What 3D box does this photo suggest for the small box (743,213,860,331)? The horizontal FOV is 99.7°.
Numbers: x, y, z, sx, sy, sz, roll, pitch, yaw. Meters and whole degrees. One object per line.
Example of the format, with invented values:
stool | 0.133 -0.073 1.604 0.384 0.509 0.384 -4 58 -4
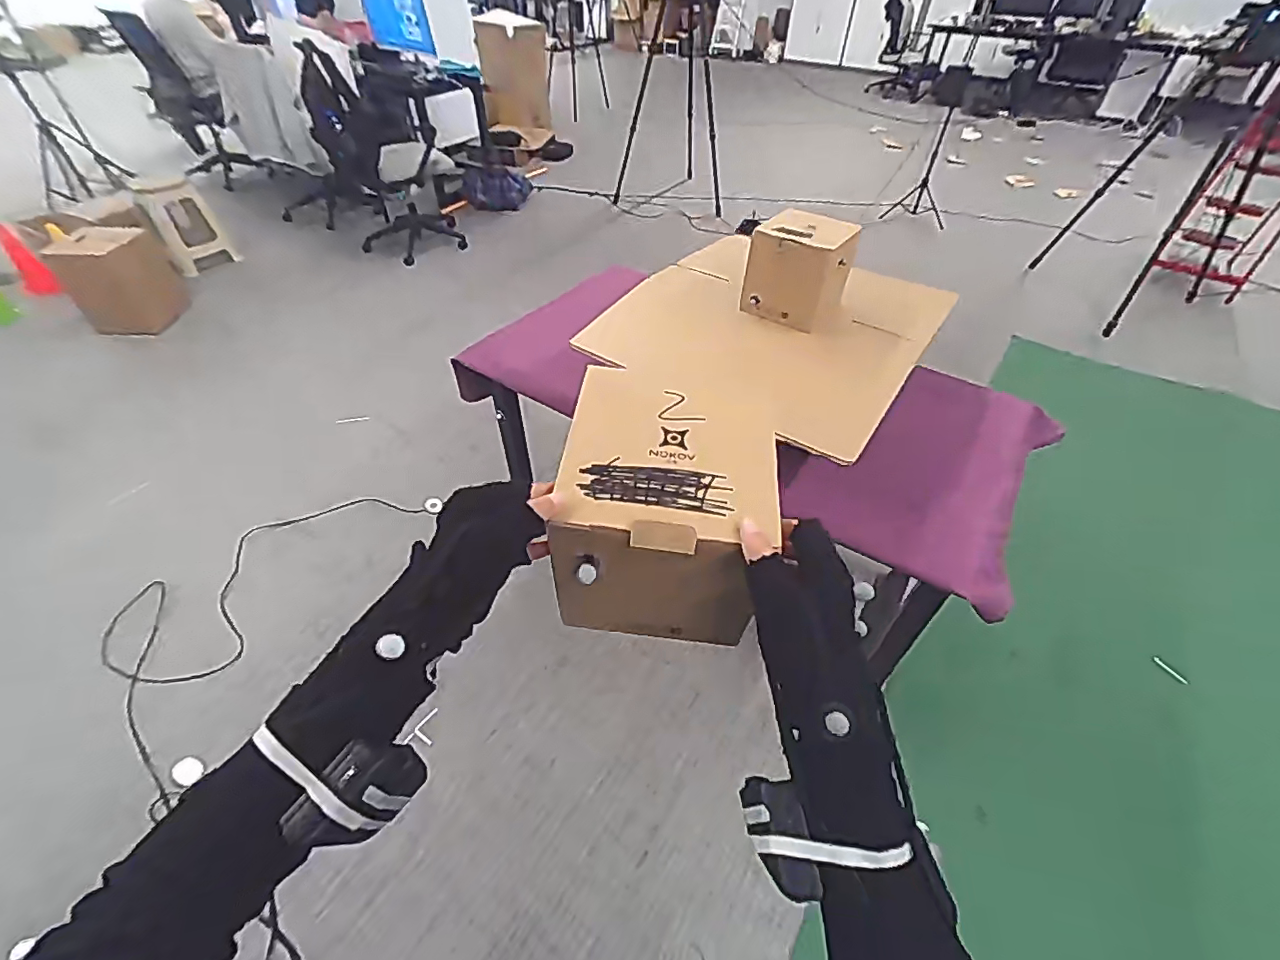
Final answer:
small box | 0.330 -0.434 1.132 0.168 0.176 0.179 28 48 23
